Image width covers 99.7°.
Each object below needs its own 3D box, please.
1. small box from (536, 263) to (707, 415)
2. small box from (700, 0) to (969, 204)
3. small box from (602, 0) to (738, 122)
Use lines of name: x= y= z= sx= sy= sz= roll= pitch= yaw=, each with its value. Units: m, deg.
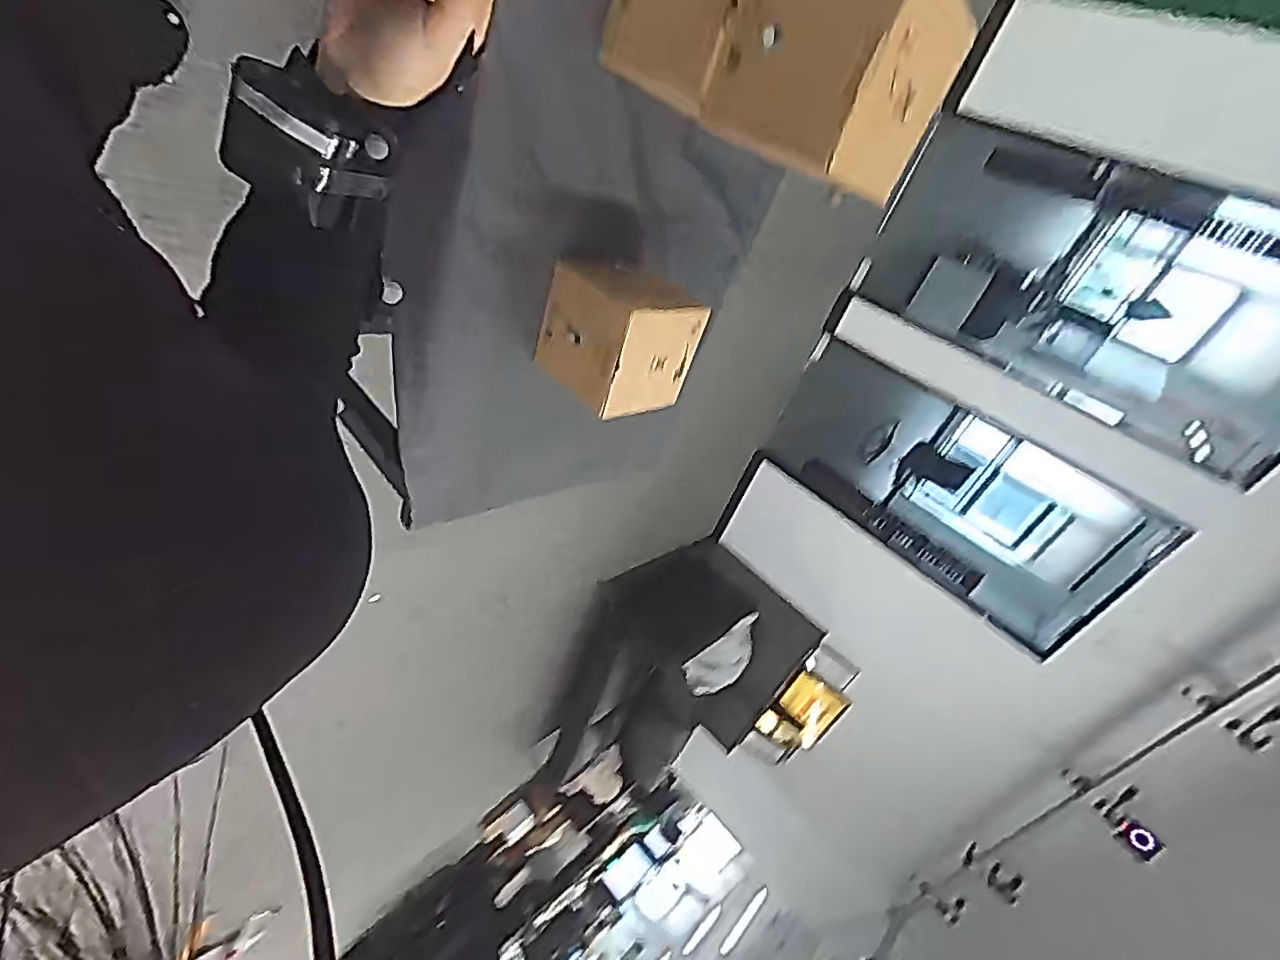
small box: x=-0.035 y=-0.220 z=0.833 sx=0.179 sy=0.176 sz=0.168 roll=-17 pitch=139 yaw=-45
small box: x=0.196 y=-0.415 z=0.563 sx=0.179 sy=0.176 sz=0.168 roll=-16 pitch=138 yaw=-47
small box: x=0.086 y=-0.522 z=0.624 sx=0.179 sy=0.176 sz=0.168 roll=-14 pitch=137 yaw=-50
